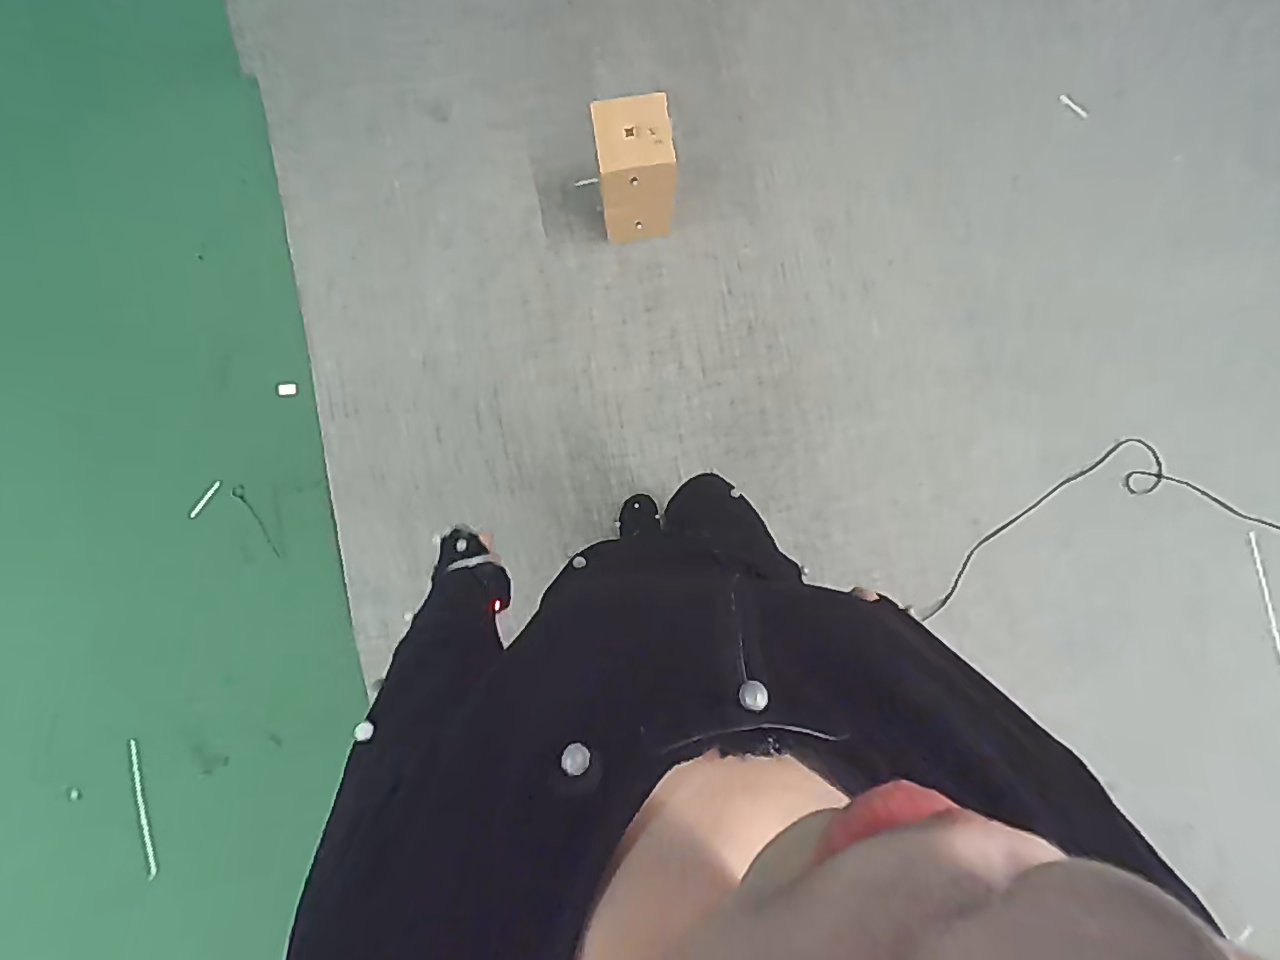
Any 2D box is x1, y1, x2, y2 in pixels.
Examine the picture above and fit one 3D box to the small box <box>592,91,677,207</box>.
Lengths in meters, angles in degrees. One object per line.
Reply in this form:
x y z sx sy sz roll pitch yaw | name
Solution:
-0.011 -0.779 1.291 0.179 0.176 0.168 -8 89 0 | small box
